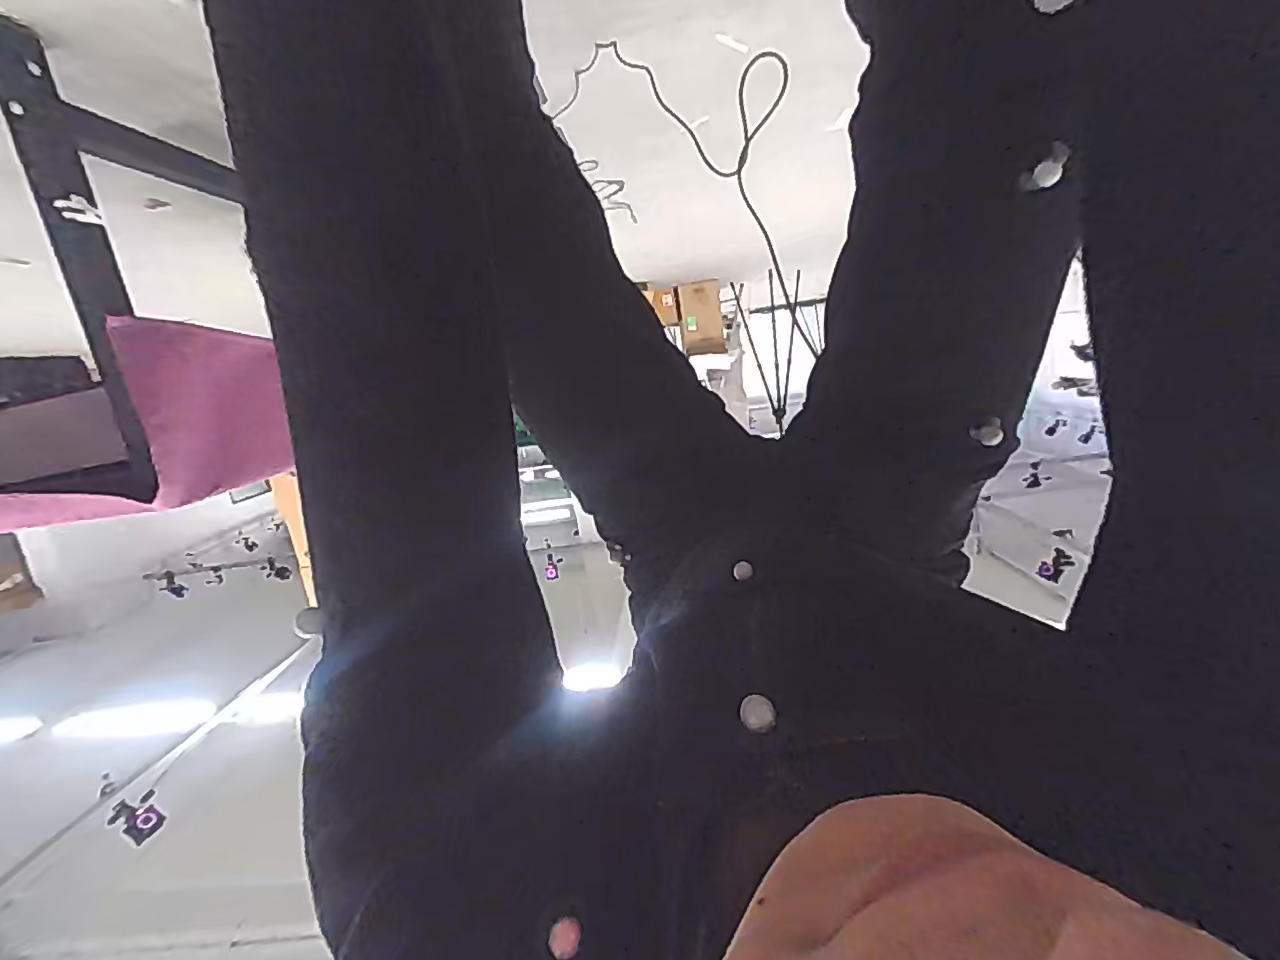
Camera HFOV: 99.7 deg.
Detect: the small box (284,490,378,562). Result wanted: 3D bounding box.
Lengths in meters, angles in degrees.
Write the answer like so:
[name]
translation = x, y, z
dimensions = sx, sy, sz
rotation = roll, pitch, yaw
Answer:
[small box]
translation = -0.931, 0.132, 1.625
dimensions = 0.179, 0.176, 0.168
rotation = -6, -165, 10
